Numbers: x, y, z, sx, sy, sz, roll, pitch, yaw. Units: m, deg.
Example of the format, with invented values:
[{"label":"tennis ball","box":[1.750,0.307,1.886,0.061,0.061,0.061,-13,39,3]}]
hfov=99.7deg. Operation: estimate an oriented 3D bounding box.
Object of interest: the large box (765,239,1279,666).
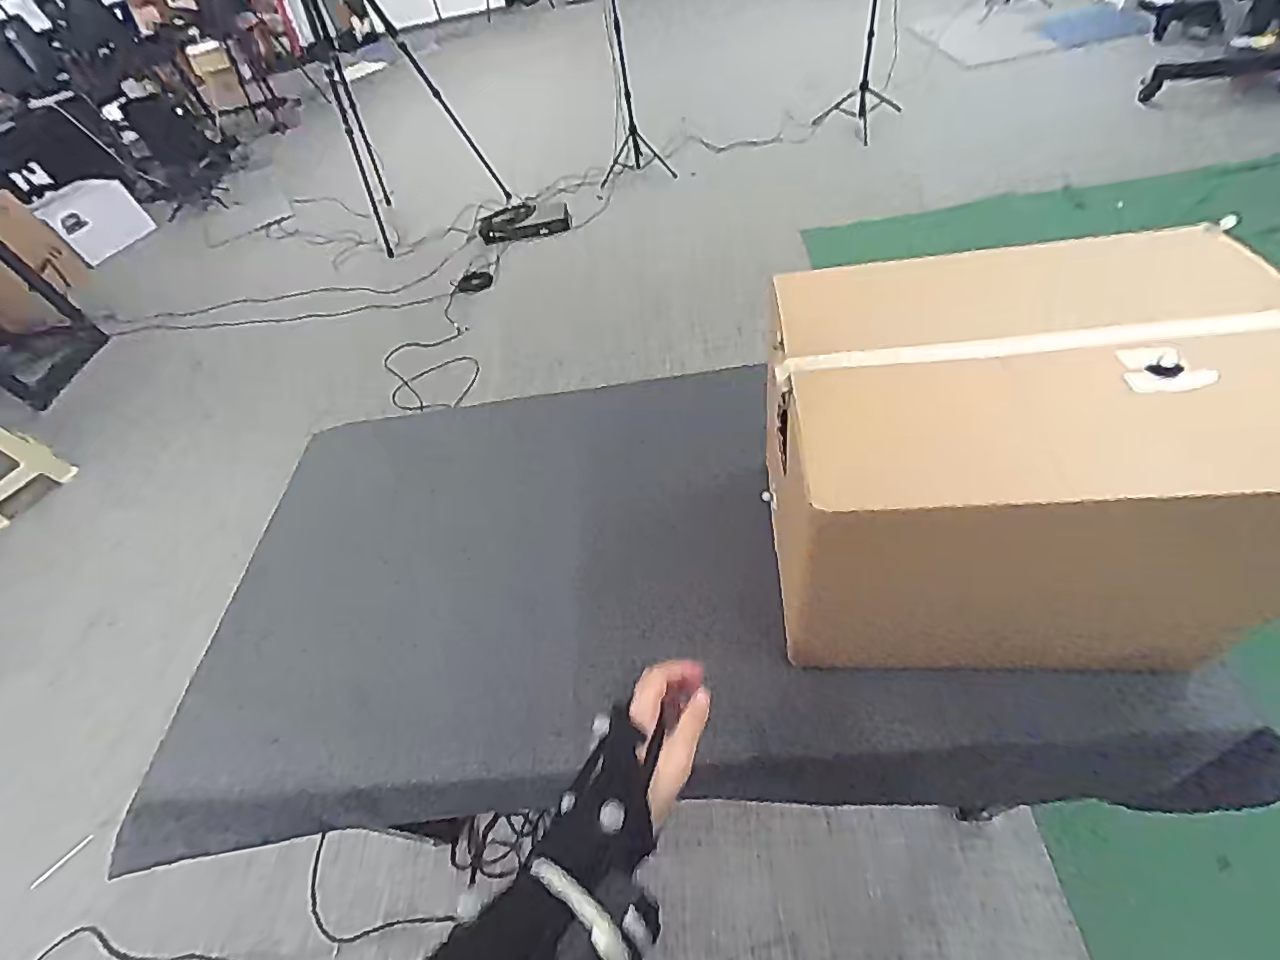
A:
[{"label":"large box","box":[0.354,-0.012,0.567,0.408,0.320,0.320,-2,51,9]}]
